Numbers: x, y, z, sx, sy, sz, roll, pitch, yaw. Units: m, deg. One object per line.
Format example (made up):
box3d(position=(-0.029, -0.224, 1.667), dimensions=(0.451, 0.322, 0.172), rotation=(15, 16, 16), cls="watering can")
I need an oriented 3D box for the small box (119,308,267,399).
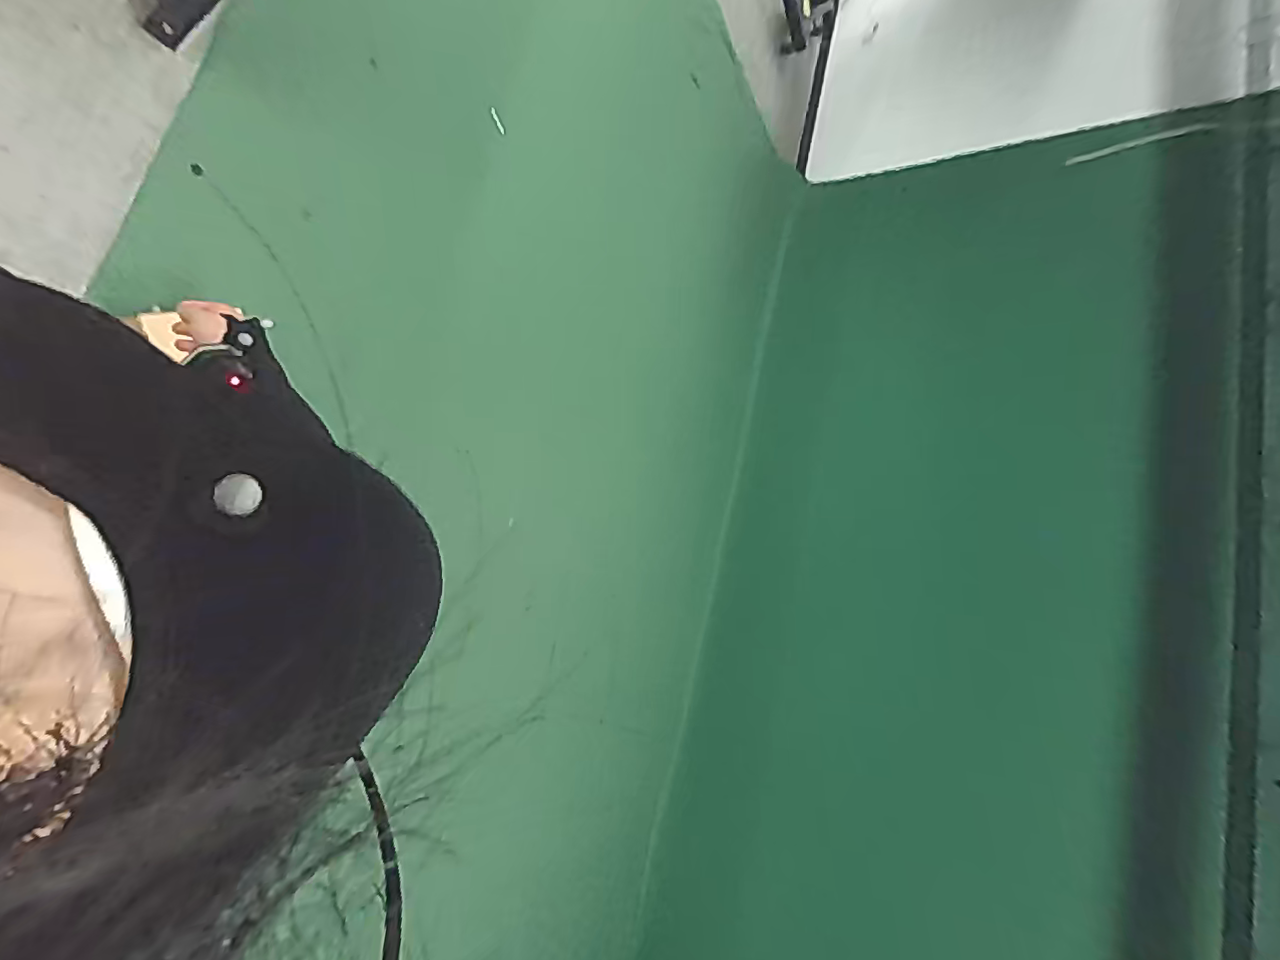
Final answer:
box3d(position=(-0.946, -0.272, 1.148), dimensions=(0.179, 0.176, 0.168), rotation=(-30, 120, -49), cls="small box")
